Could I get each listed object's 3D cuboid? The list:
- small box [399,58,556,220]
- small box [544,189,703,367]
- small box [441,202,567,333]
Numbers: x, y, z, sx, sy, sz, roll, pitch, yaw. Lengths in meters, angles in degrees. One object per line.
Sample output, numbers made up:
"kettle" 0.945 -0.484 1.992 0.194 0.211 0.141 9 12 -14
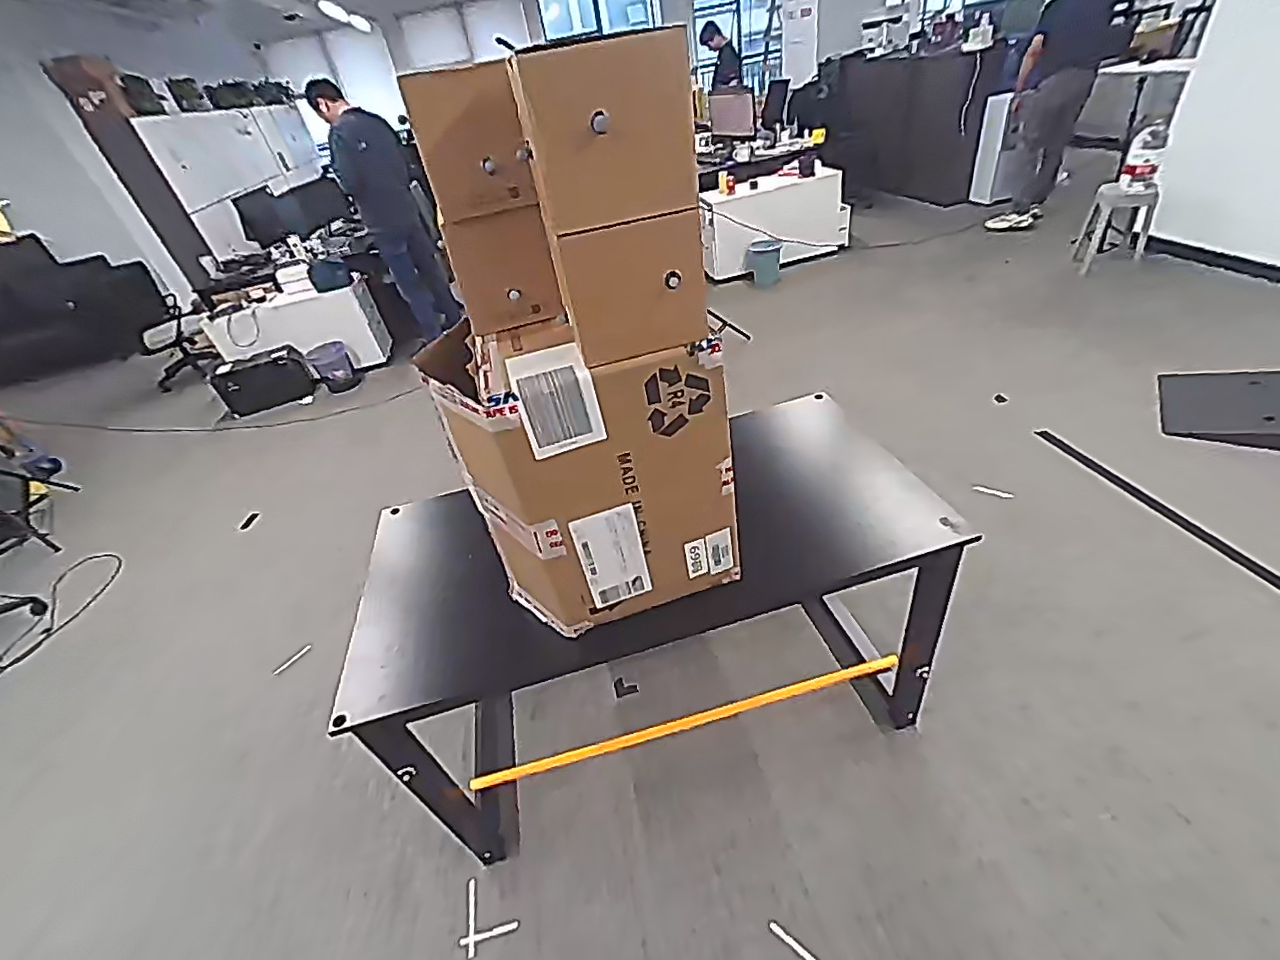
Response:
"small box" -0.232 -0.489 0.786 0.168 0.176 0.179 -19 37 -11
"small box" -0.020 -0.277 0.740 0.179 0.176 0.168 -16 37 -6
"small box" -0.217 -0.359 0.889 0.168 0.176 0.179 -17 37 -9
